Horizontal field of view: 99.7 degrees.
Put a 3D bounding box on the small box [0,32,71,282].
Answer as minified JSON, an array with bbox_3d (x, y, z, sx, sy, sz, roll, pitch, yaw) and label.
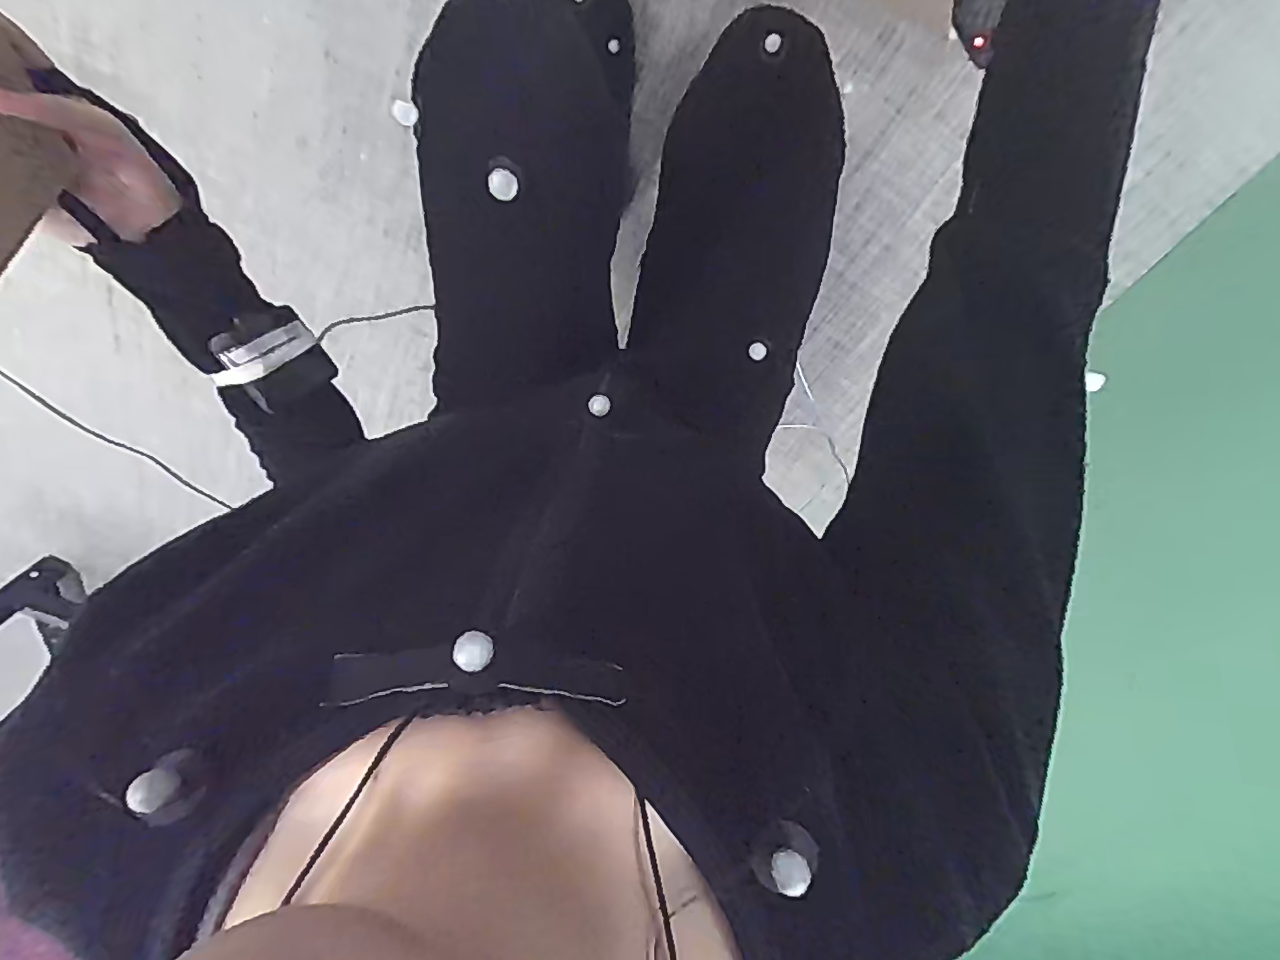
[{"bbox_3d":[-0.367,-0.155,0.182,0.168,0.176,0.179,12,154,-20],"label":"small box"}]
